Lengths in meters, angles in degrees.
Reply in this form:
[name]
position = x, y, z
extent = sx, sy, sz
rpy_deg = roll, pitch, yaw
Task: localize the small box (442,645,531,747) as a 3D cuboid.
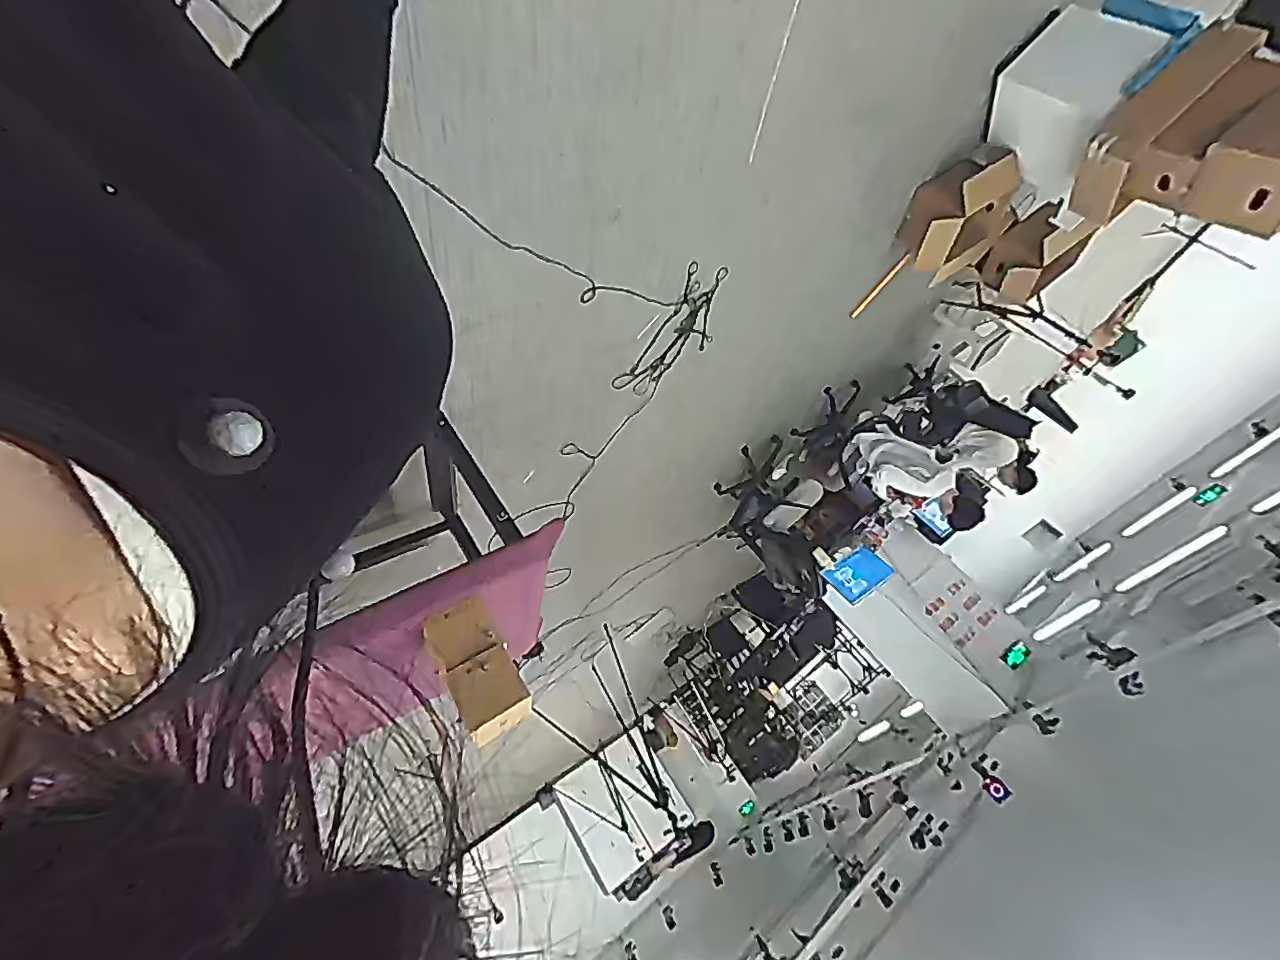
[small box]
position = -0.402, 0.563, 1.421
extent = 0.168, 0.176, 0.179
rpy_deg = -26, 152, -28
